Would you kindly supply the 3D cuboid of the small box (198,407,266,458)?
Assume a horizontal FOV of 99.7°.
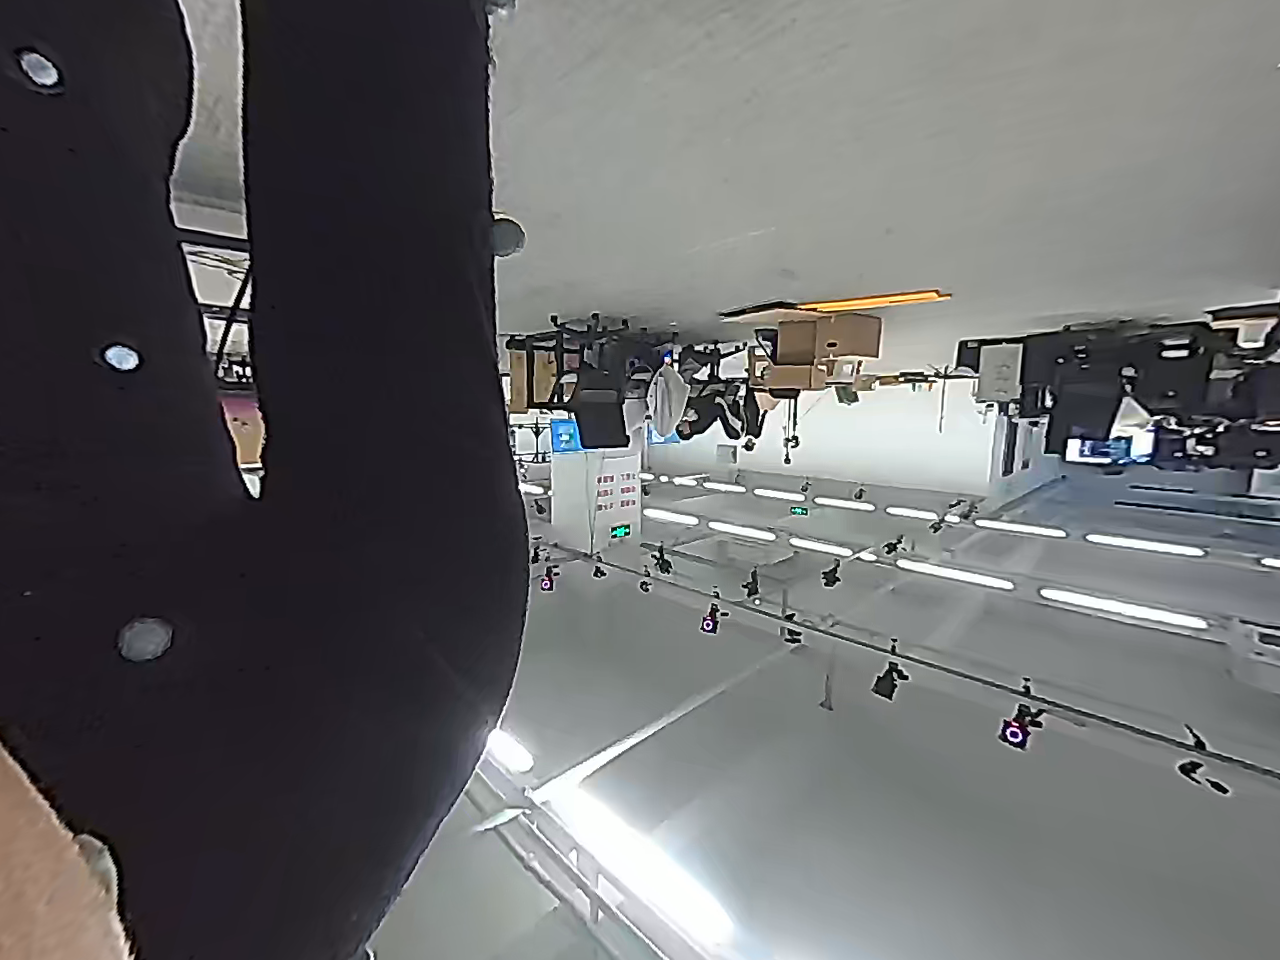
[{"bbox_3d":[-1.473,-0.174,1.947,0.179,0.176,0.168,-7,-168,-42],"label":"small box"}]
